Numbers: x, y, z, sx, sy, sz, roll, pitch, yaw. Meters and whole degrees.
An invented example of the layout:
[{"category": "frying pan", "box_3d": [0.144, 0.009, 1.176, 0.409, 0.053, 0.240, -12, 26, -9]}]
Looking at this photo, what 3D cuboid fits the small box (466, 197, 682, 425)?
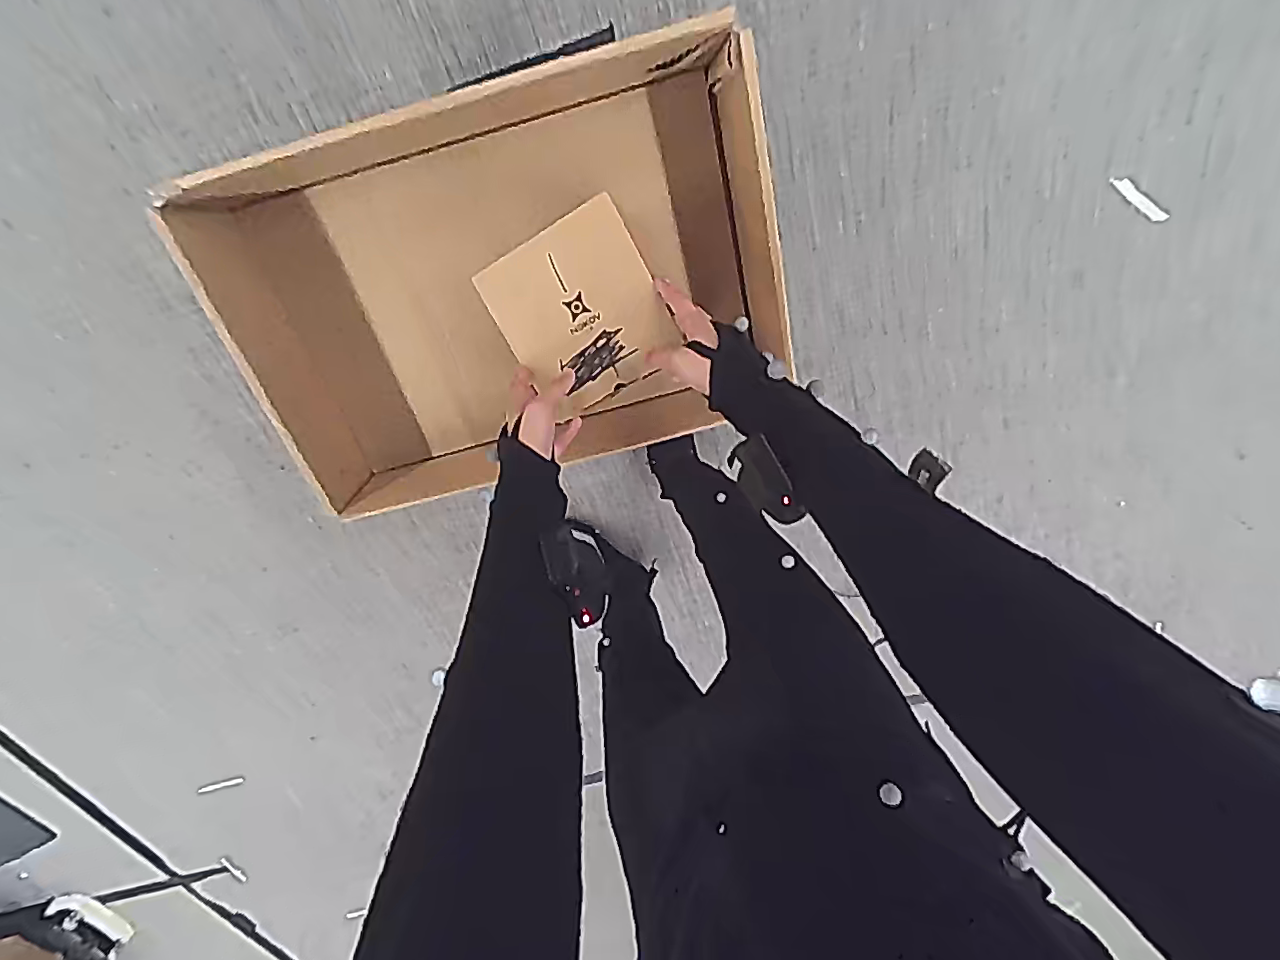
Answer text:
[{"category": "small box", "box_3d": [-0.059, -0.191, 0.628, 0.168, 0.176, 0.179, -27, 104, 13]}]
